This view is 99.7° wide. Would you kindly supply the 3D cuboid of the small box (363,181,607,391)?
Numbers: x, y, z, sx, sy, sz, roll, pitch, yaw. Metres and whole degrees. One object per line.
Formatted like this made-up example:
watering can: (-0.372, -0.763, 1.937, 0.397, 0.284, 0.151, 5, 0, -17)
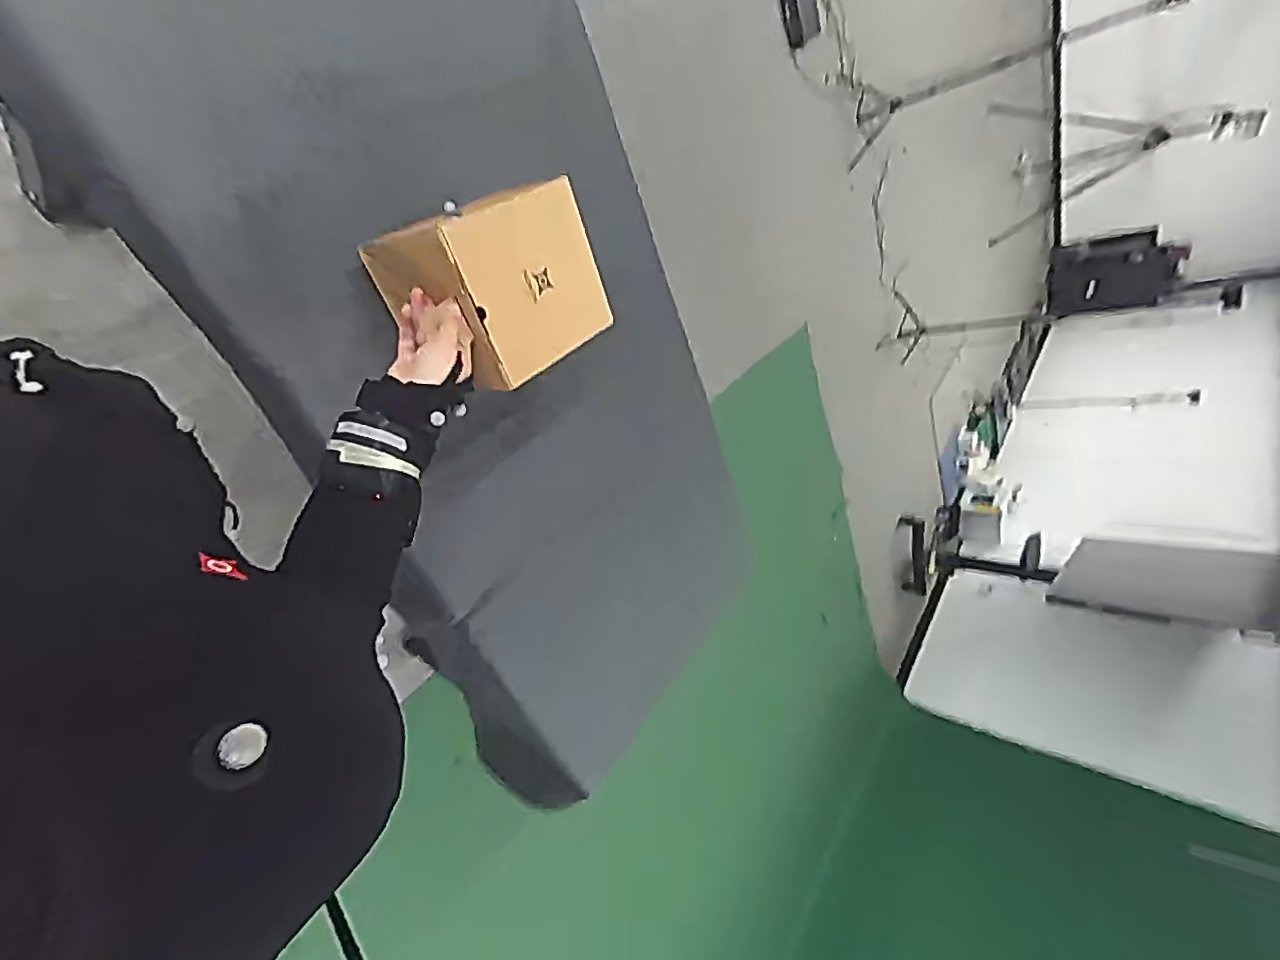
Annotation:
small box: (-0.171, -0.221, 0.620, 0.179, 0.176, 0.168, -45, 132, -33)
